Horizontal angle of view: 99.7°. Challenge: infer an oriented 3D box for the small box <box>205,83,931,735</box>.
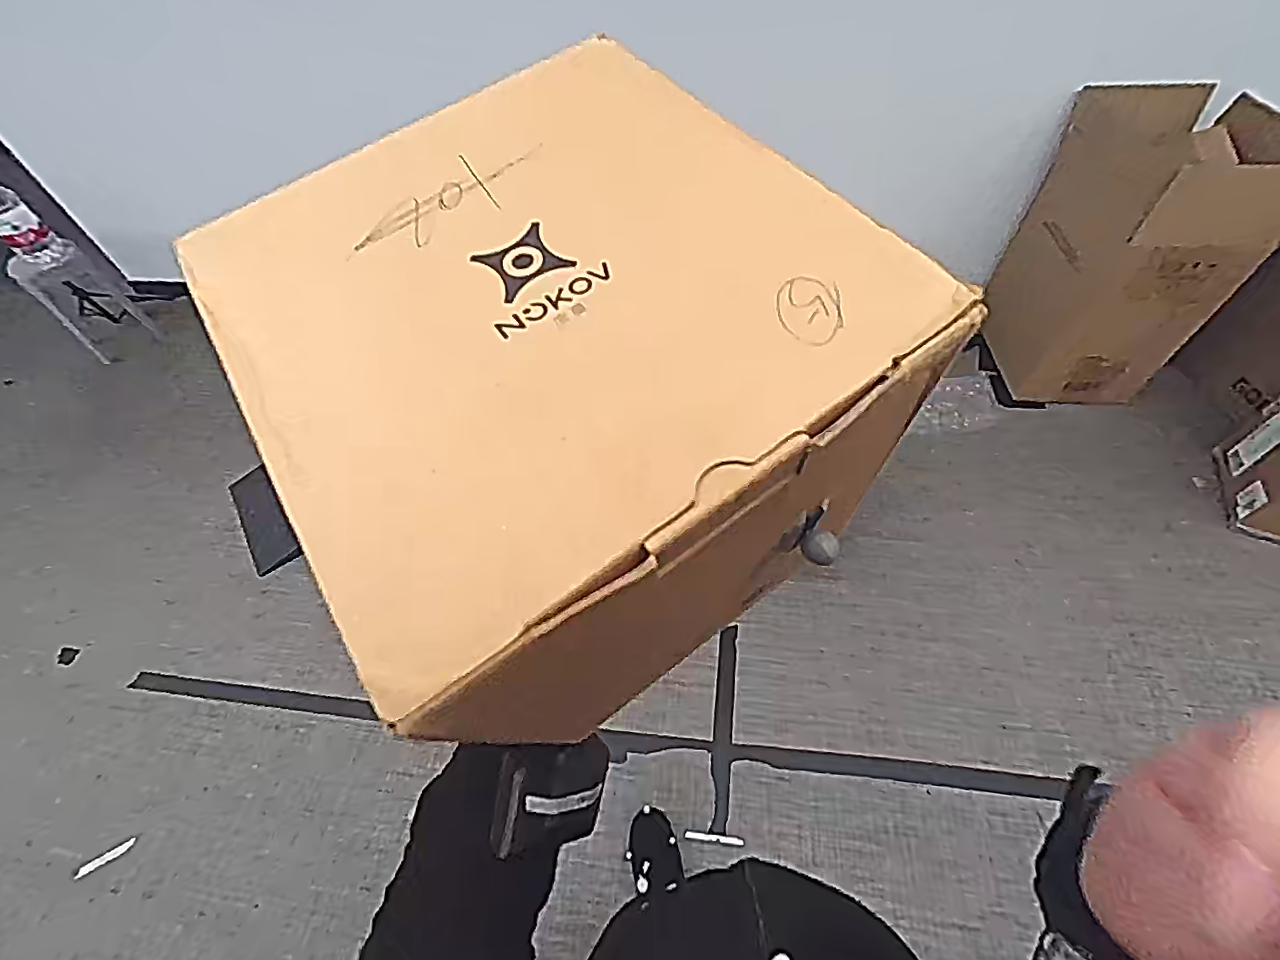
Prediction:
[{"bbox_3d":[-0.026,-0.016,0.236,0.168,0.176,0.179,-34,65,-11],"label":"small box"}]
